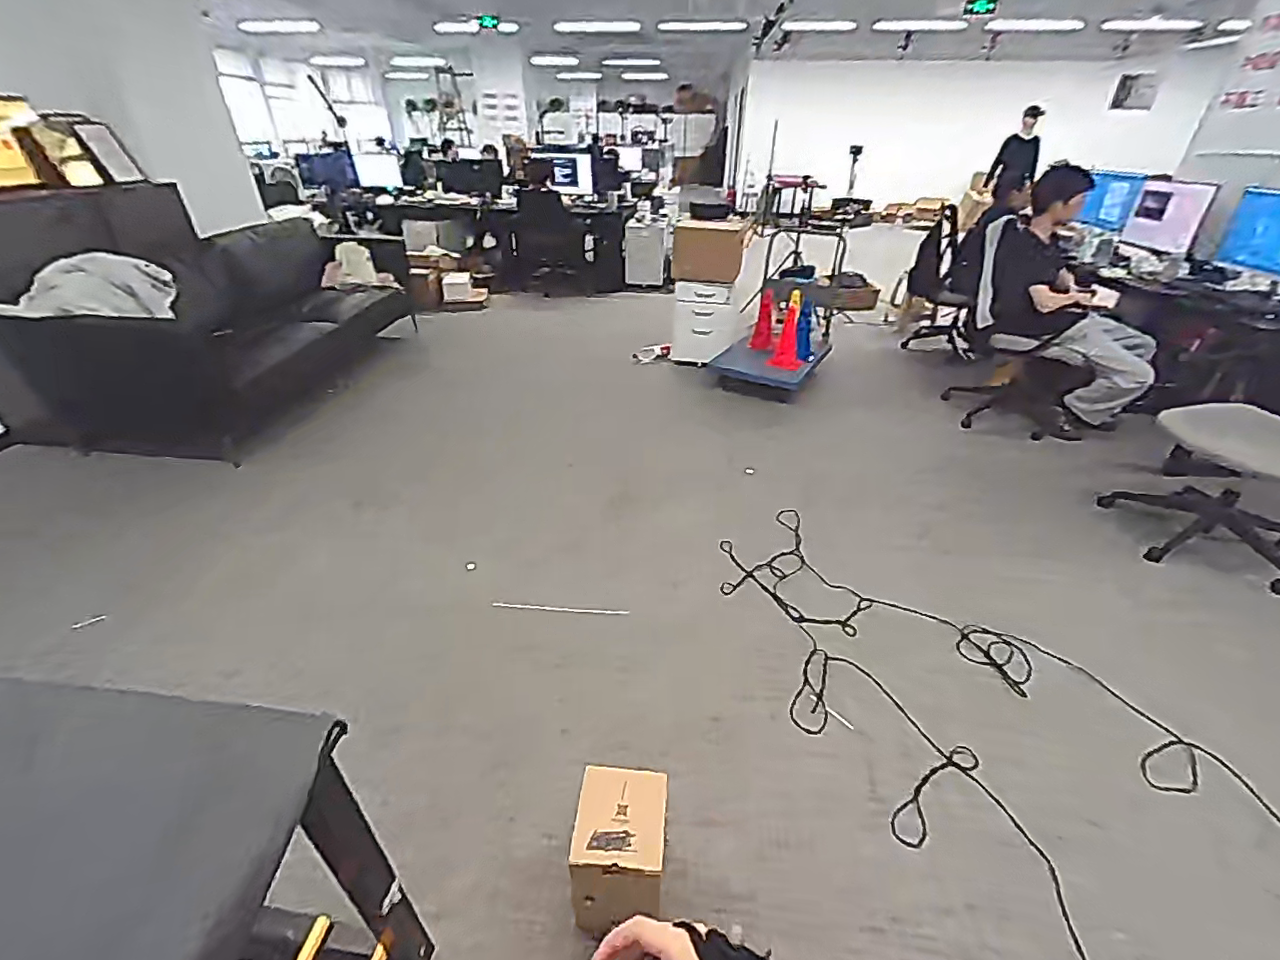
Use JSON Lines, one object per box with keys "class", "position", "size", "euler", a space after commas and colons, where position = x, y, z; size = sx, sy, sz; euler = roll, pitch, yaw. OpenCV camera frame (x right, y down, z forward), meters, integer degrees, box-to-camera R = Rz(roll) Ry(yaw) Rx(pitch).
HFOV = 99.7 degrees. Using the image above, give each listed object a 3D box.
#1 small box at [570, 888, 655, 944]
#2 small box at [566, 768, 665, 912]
{"class": "small box", "position": [-0.044, 0.823, 1.136], "size": [0.168, 0.176, 0.179], "euler": [4, 32, 6]}
{"class": "small box", "position": [-0.039, 0.691, 1.038], "size": [0.168, 0.176, 0.179], "euler": [4, 32, 4]}
